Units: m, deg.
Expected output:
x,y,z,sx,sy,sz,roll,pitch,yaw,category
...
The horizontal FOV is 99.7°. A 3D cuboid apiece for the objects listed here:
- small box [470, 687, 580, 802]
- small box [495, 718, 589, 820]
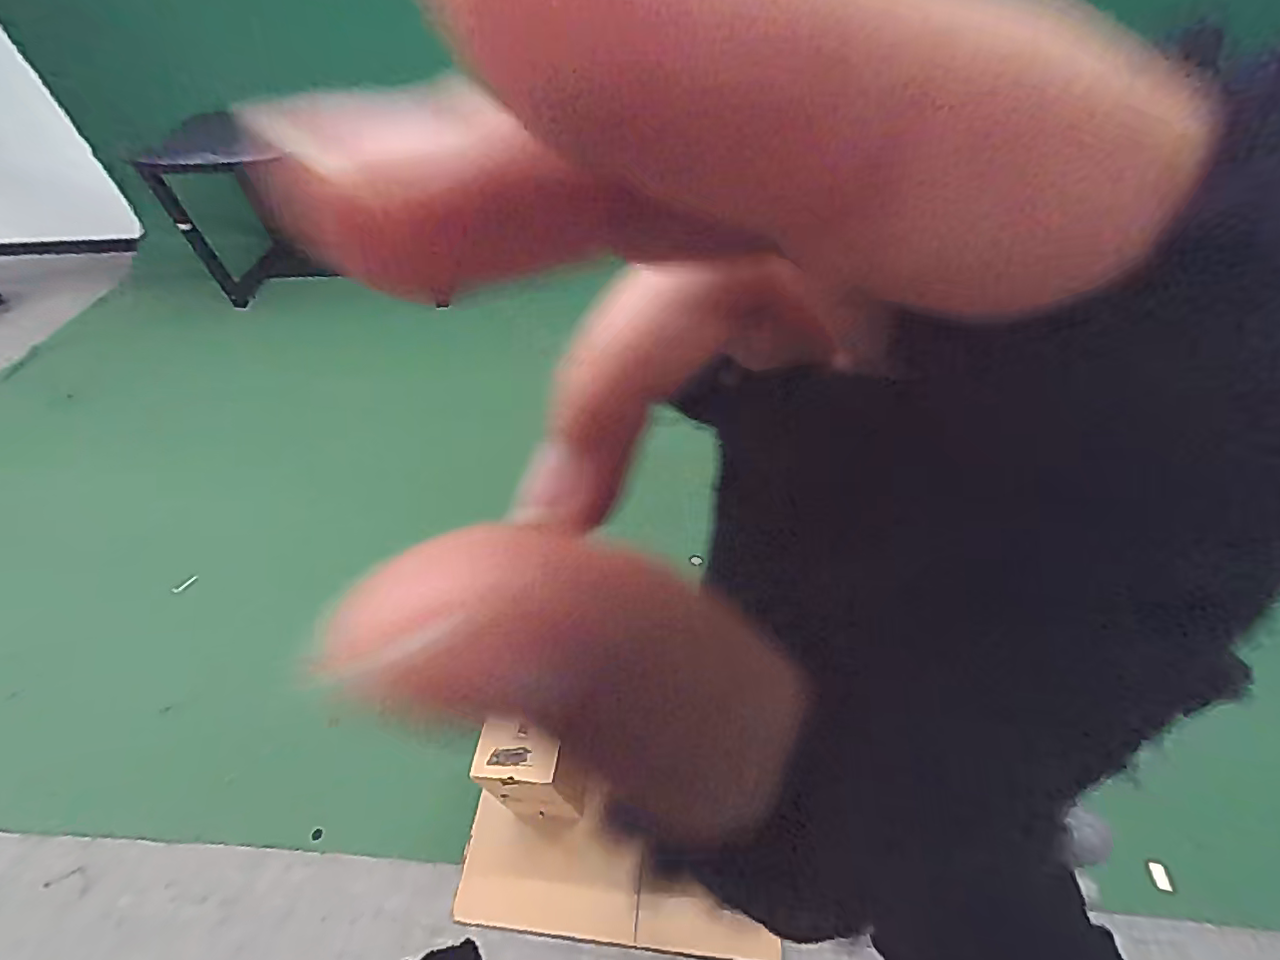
x,y,z,sx,sy,sz,roll,pitch,yaw,category
-0.229,0.556,1.133,0.168,0.176,0.179,2,48,7,small box
-0.216,0.666,1.254,0.168,0.176,0.179,0,49,7,small box
